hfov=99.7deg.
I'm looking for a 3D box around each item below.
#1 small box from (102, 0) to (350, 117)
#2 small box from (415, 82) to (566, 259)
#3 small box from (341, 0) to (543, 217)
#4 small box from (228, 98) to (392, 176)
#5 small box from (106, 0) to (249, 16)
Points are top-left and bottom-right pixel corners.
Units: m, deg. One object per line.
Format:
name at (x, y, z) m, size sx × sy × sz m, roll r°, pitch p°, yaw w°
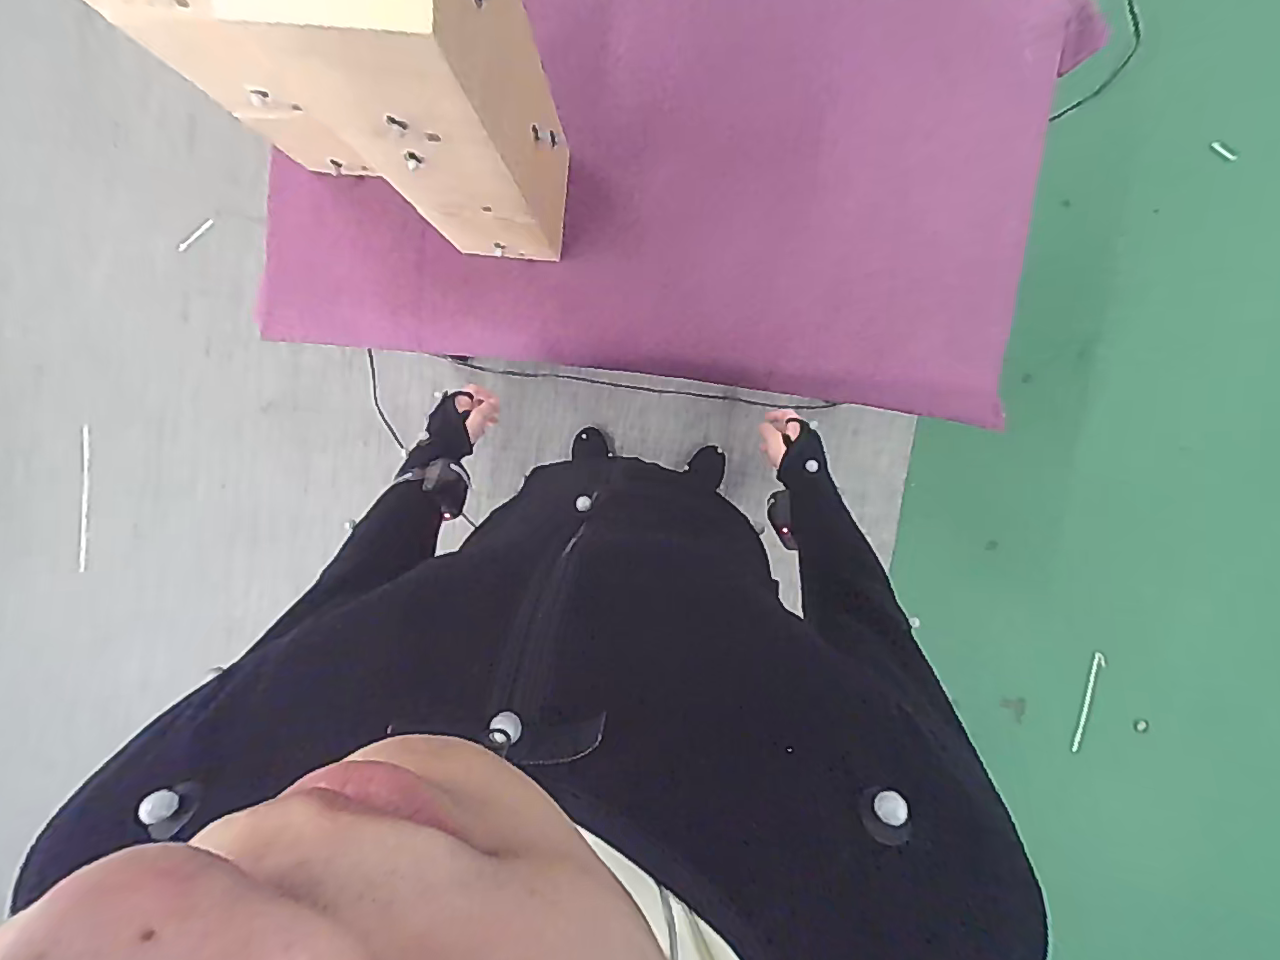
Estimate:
small box at (-0.461, -0.564, 0.626) m, size 0.168 × 0.176 × 0.179 m, roll 5°, pitch 96°, yaw 3°
small box at (-0.207, -0.447, 0.791) m, size 0.168 × 0.176 × 0.179 m, roll 6°, pitch 95°, yaw 2°
small box at (-0.214, -0.435, 0.627) m, size 0.168 × 0.176 × 0.179 m, roll 6°, pitch 94°, yaw 2°
small box at (-0.455, -0.578, 0.789) m, size 0.168 × 0.176 × 0.179 m, roll 5°, pitch 96°, yaw 2°
small box at (-0.469, -0.549, 0.465) m, size 0.168 × 0.176 × 0.179 m, roll 4°, pitch 95°, yaw 3°
